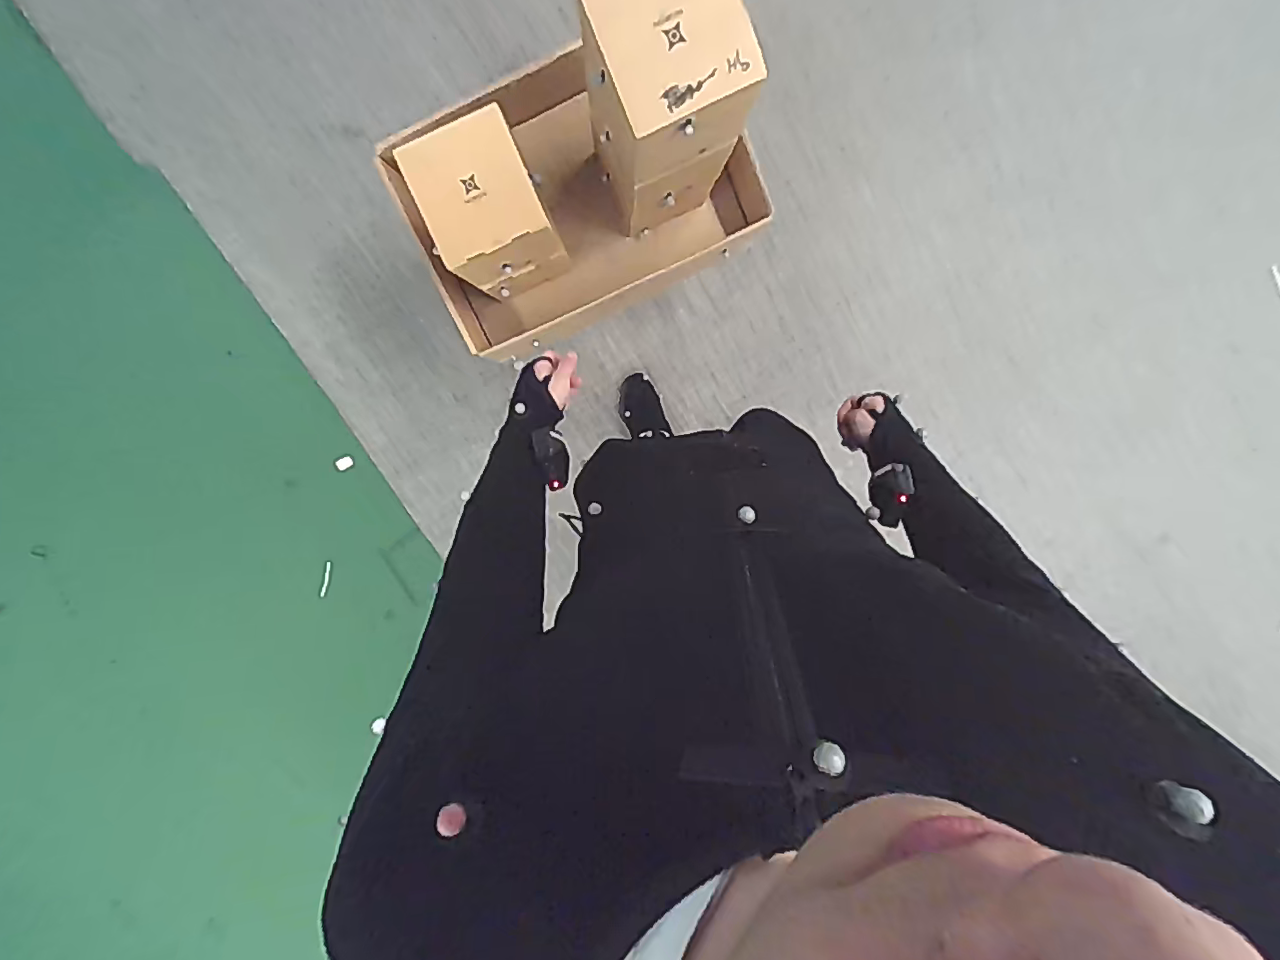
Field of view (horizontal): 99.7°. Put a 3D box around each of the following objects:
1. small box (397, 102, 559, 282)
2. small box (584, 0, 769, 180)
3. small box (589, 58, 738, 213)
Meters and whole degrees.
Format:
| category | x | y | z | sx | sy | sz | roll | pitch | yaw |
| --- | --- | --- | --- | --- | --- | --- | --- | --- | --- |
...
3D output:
| category | x | y | z | sx | sy | sz | roll | pitch | yaw |
| --- | --- | --- | --- | --- | --- | --- | --- | --- | --- |
| small box | -0.241 | -0.436 | 0.850 | 0.168 | 0.176 | 0.179 | -23 | 101 | 3 |
| small box | 0.037 | -0.516 | 0.674 | 0.168 | 0.176 | 0.179 | -23 | 101 | 4 |
| small box | 0.031 | -0.548 | 0.835 | 0.168 | 0.176 | 0.179 | -23 | 102 | 3 |
